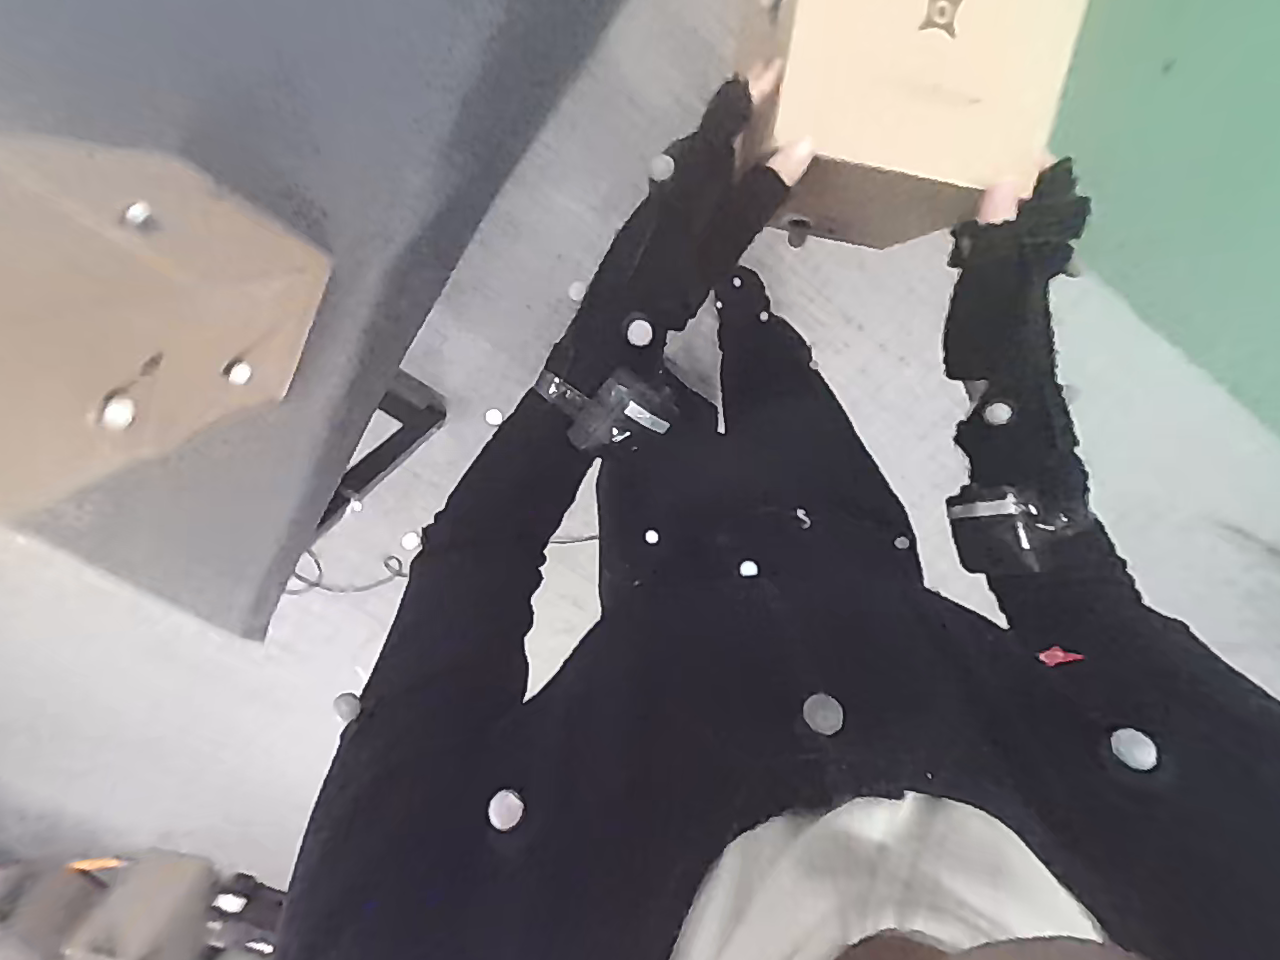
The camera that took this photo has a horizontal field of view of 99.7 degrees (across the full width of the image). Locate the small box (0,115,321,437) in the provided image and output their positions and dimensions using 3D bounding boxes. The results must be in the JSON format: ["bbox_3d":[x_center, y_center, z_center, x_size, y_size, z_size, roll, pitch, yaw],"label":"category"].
[{"bbox_3d":[-0.425,-0.175,0.477,0.168,0.176,0.179,35,115,-10],"label":"small box"}]

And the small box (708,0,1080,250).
[{"bbox_3d":[0.152,-0.275,0.371,0.168,0.176,0.179,7,104,-7],"label":"small box"}]
